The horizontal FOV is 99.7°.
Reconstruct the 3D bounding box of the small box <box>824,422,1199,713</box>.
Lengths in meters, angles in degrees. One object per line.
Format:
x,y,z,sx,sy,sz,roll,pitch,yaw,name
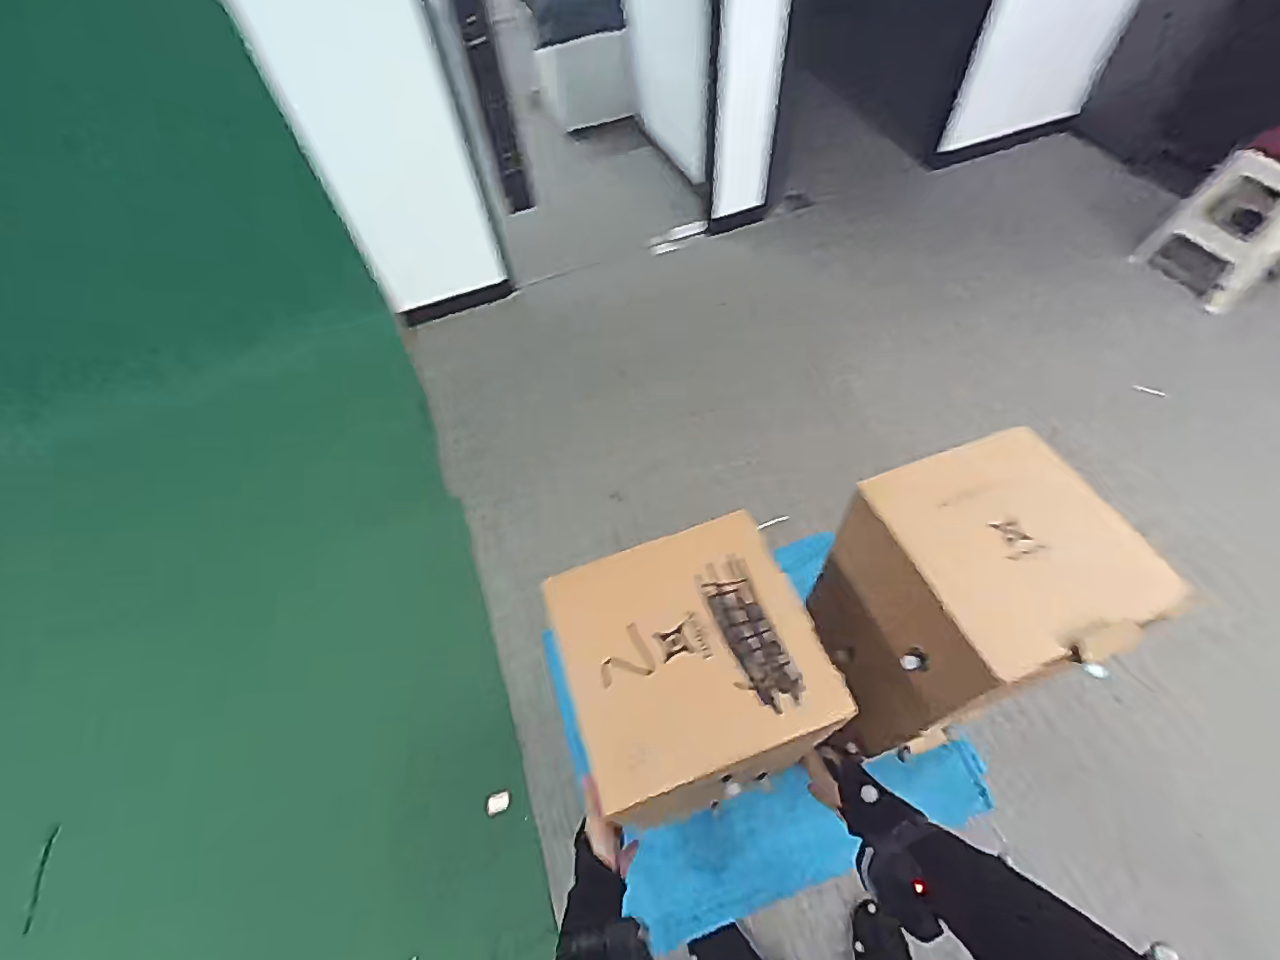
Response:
0.287,0.085,0.471,0.168,0.176,0.179,-18,55,-8,small box

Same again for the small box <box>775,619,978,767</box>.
0.303,0.273,0.736,0.168,0.176,0.179,-18,57,-7,small box

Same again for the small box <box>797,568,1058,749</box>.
0.299,0.180,0.603,0.168,0.176,0.179,-20,55,-9,small box
